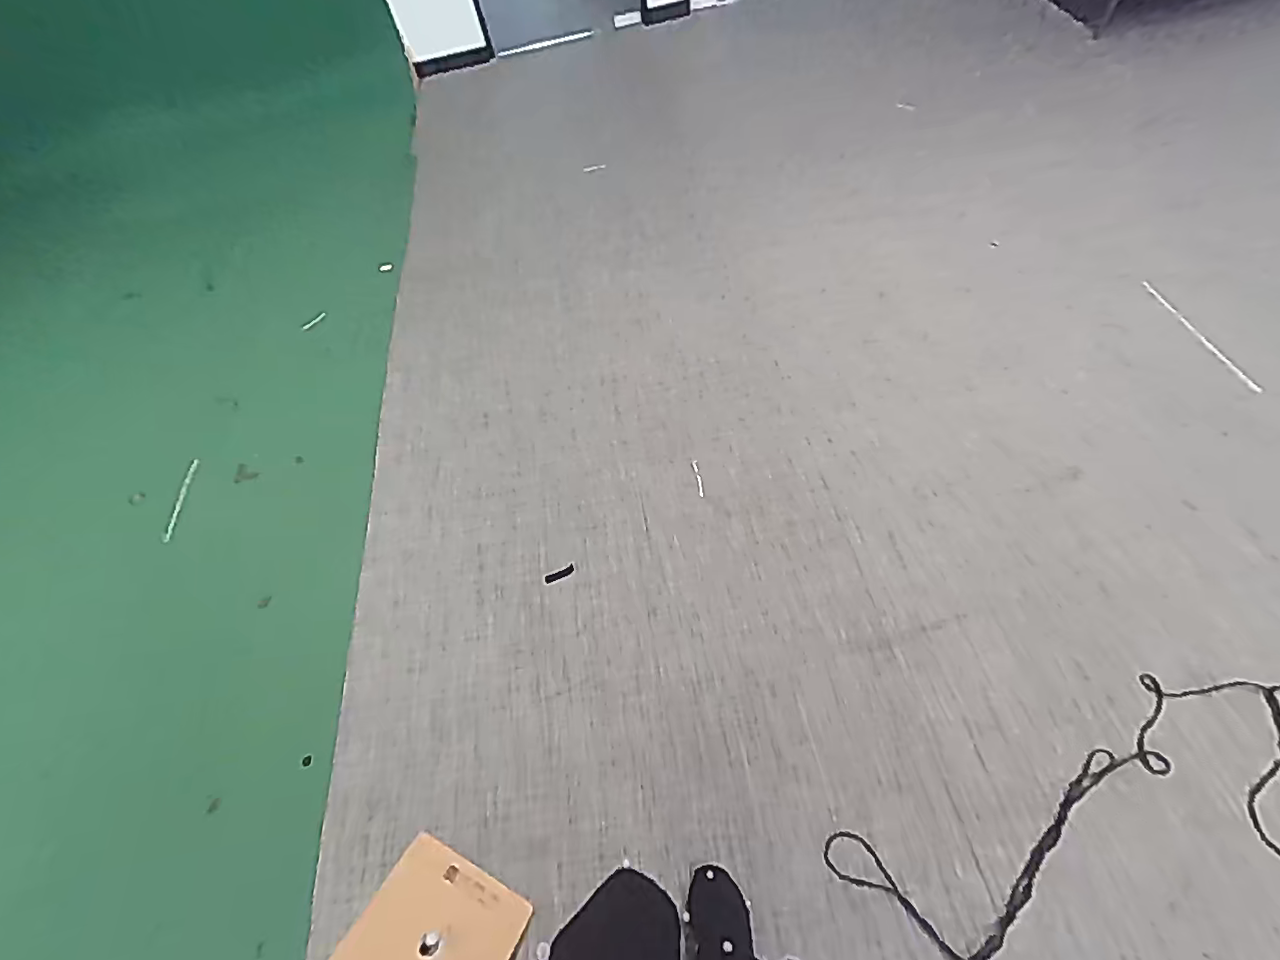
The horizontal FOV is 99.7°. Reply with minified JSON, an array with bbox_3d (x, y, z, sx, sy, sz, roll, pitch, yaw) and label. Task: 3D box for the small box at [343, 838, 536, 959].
[{"bbox_3d":[-0.236,0.559,0.632,0.168,0.179,0.176,24,41,10],"label":"small box"}]
